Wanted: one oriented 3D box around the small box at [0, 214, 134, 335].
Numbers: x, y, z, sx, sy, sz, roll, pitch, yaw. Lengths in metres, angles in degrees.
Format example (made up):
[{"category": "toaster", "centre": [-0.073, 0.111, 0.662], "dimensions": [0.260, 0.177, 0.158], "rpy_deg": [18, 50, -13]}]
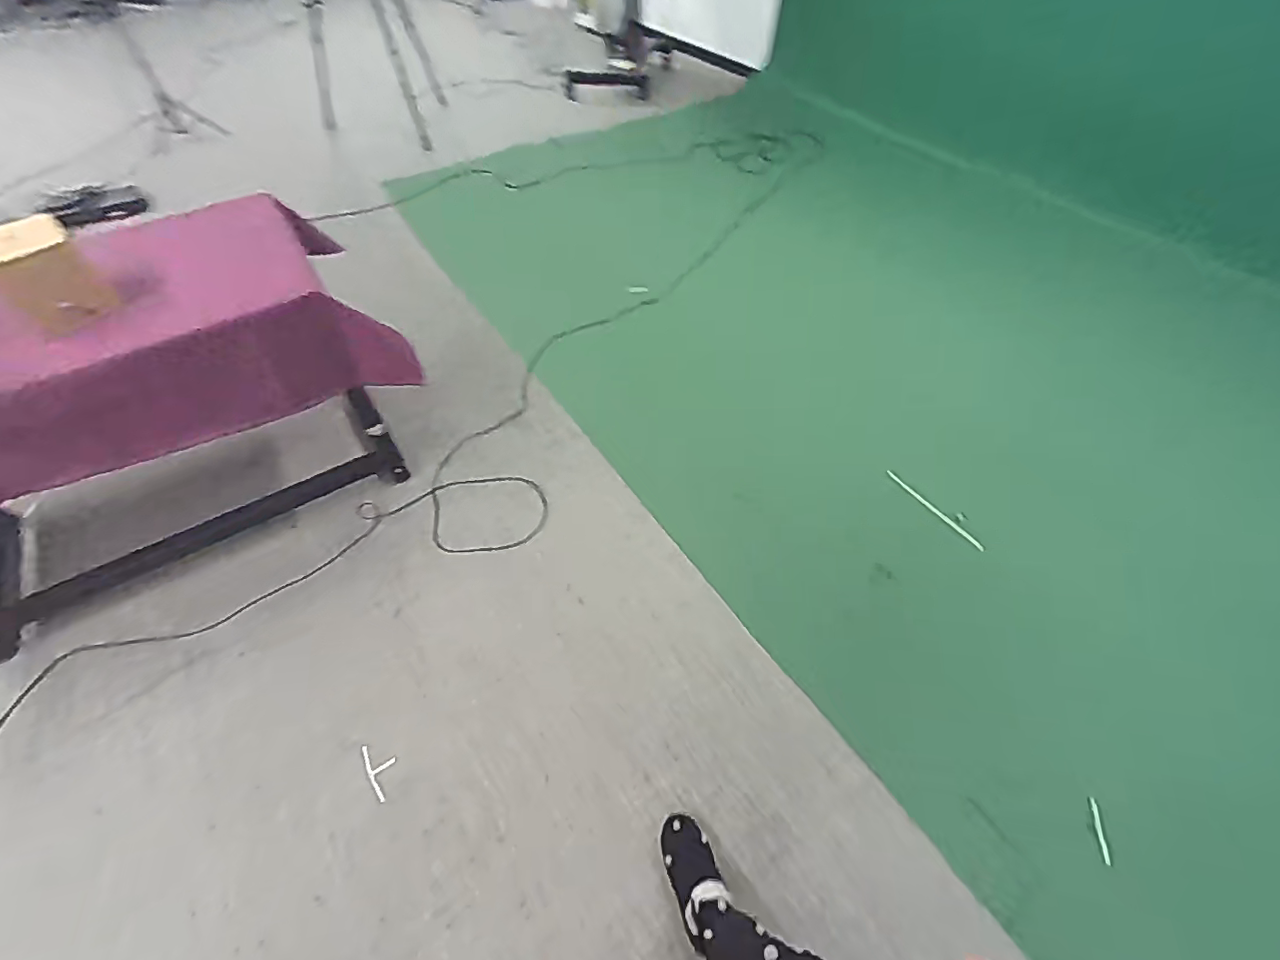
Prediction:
[{"category": "small box", "centre": [-1.283, -0.449, 1.188], "dimensions": [0.179, 0.176, 0.168], "rpy_deg": [37, 61, 25]}]
